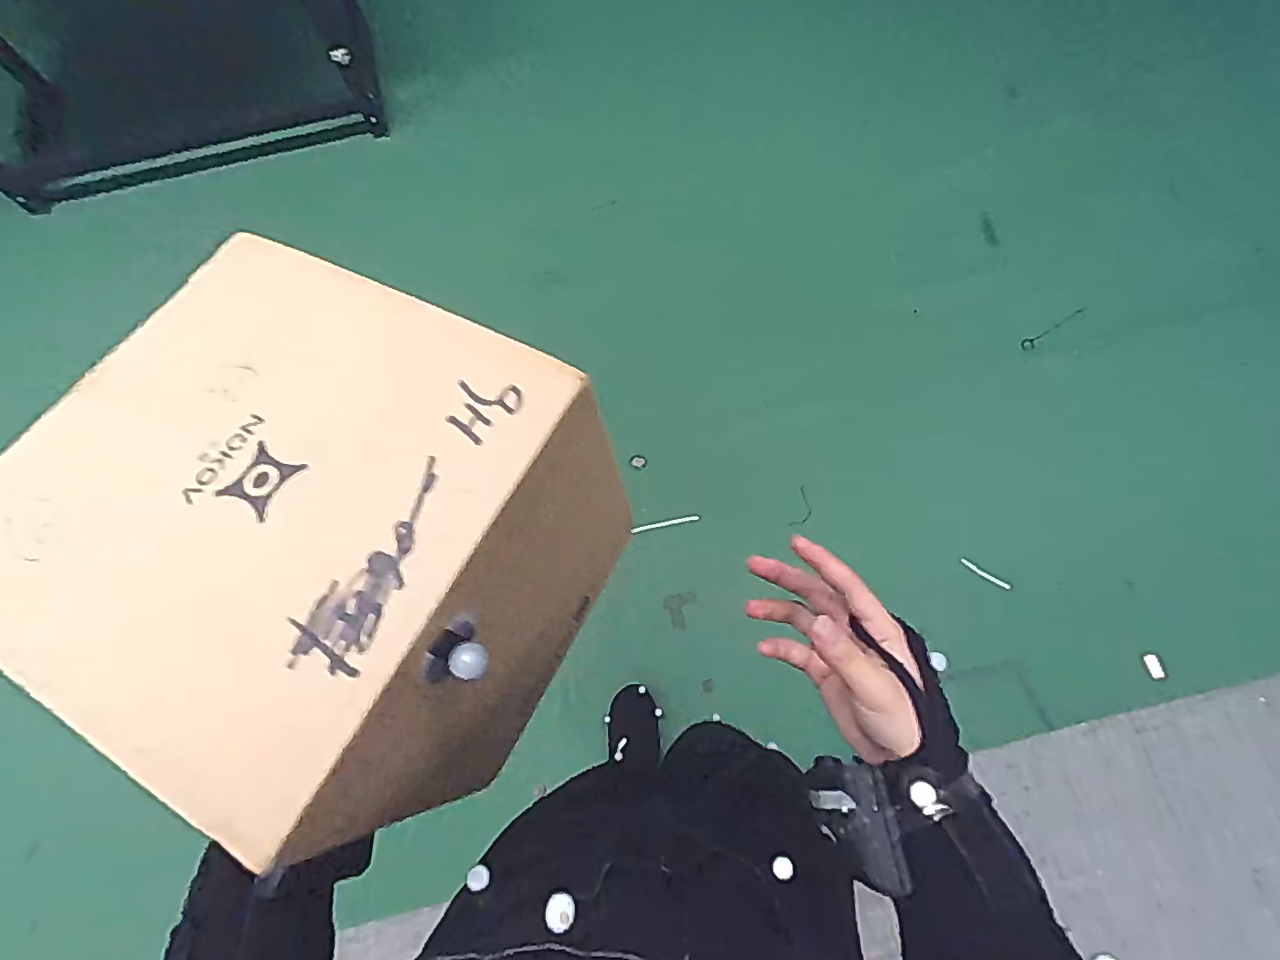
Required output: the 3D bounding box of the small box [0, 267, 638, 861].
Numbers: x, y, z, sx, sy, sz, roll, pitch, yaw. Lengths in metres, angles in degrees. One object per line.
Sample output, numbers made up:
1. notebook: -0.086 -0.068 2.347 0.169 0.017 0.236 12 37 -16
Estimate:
1. small box: -0.118 0.037 0.264 0.179 0.176 0.168 24 71 15
